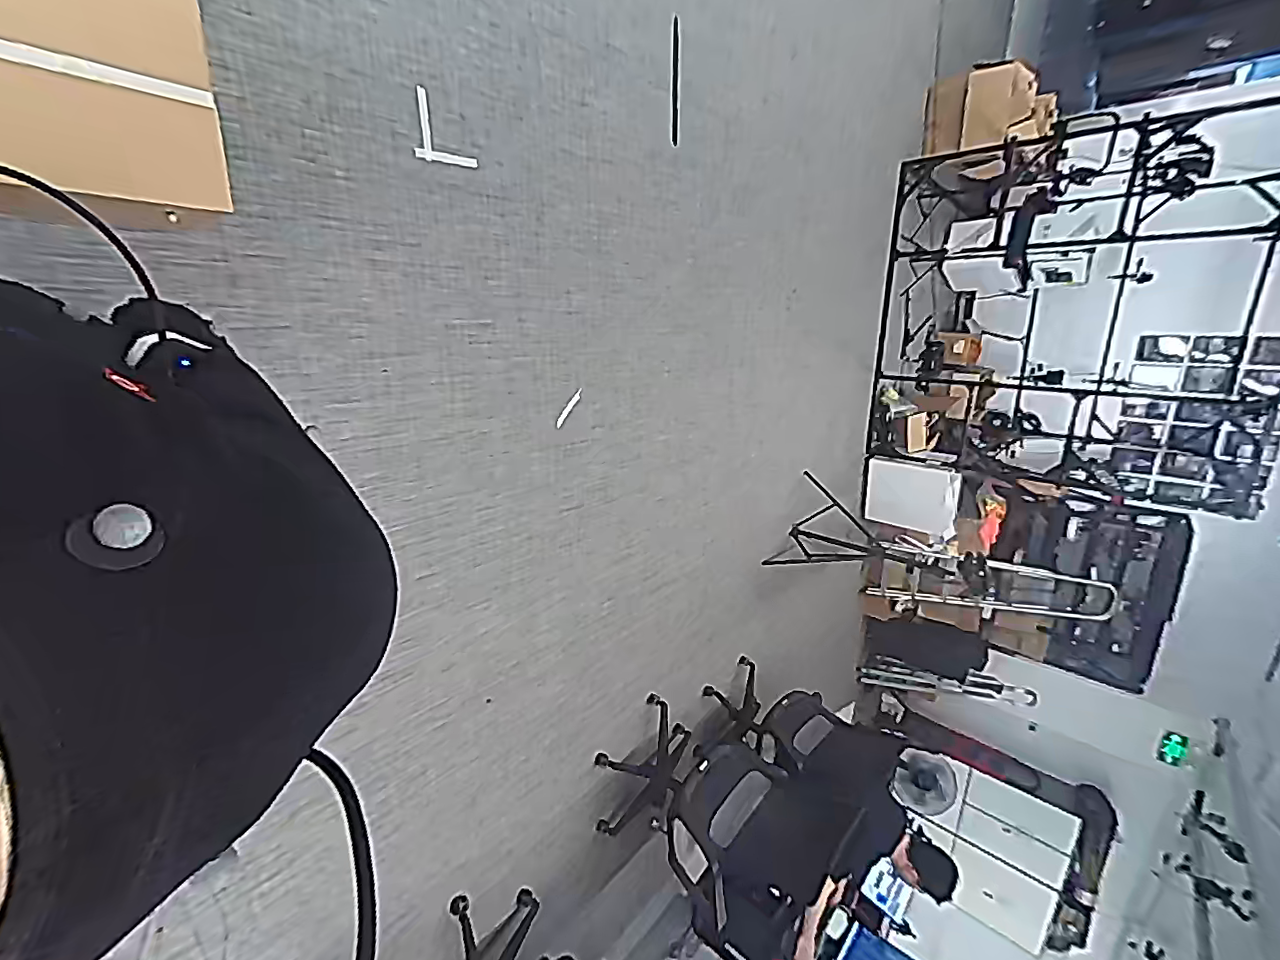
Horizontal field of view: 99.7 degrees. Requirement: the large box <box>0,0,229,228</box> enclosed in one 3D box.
[{"bbox_3d":[-0.898,-0.558,0.774,0.408,0.320,0.320,-18,114,-47],"label":"large box"}]
